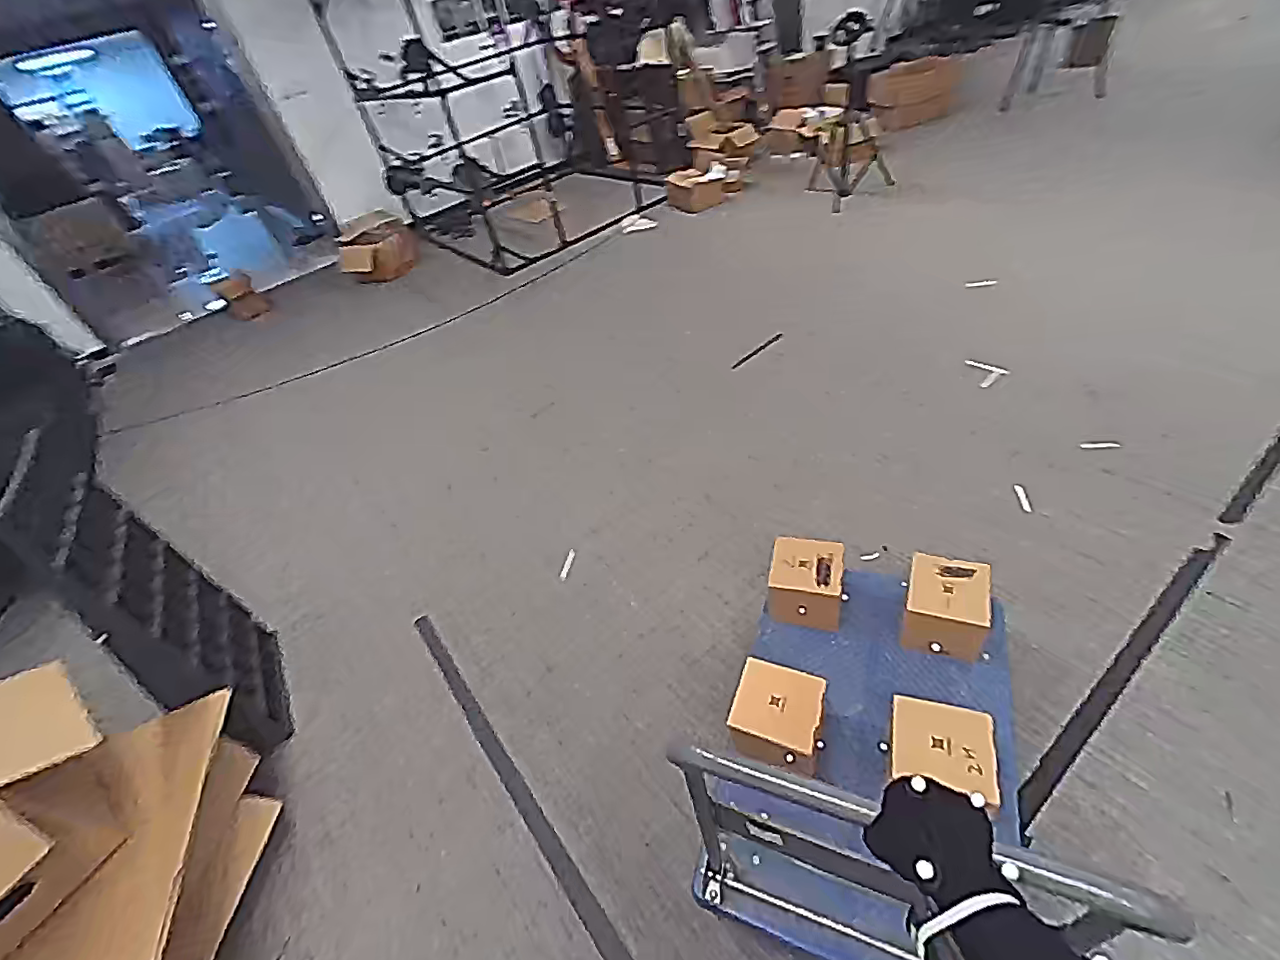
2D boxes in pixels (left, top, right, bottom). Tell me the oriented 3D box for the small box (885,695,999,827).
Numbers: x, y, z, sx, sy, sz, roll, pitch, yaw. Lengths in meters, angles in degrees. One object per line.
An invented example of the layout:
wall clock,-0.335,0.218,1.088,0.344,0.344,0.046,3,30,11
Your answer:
small box,0.591,0.561,1.078,0.179,0.176,0.168,5,46,22

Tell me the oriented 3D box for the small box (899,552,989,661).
small box,0.733,0.307,1.313,0.168,0.176,0.179,8,48,24

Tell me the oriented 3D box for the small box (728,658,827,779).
small box,0.308,0.530,1.198,0.179,0.176,0.168,10,47,24
